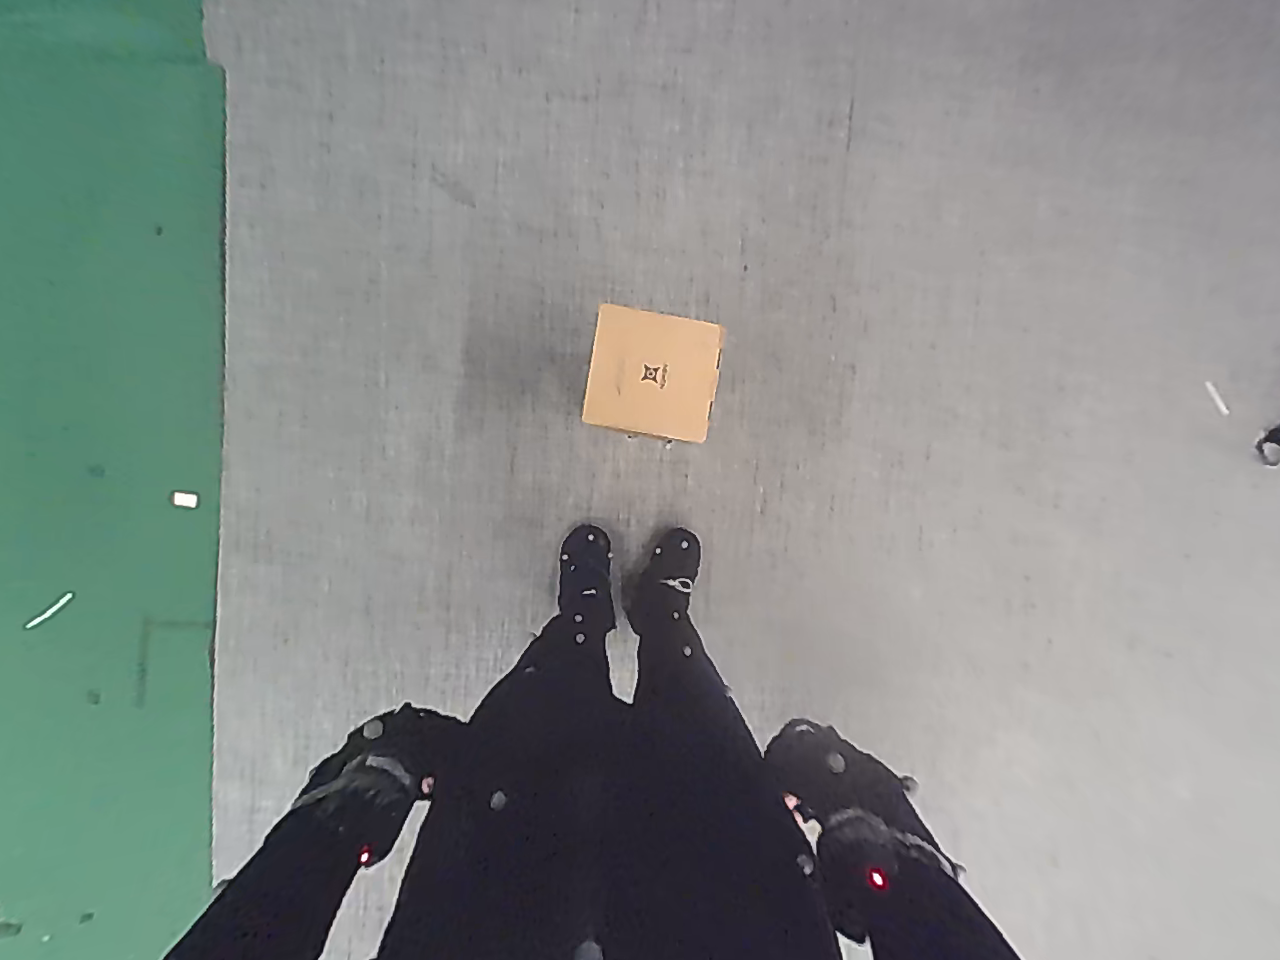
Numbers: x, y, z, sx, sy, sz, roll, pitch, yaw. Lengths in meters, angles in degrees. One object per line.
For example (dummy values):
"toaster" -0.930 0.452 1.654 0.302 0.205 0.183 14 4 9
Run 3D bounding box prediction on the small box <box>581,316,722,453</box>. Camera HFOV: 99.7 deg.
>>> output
"small box" 0.013 -0.135 0.821 0.179 0.176 0.168 8 92 -2
